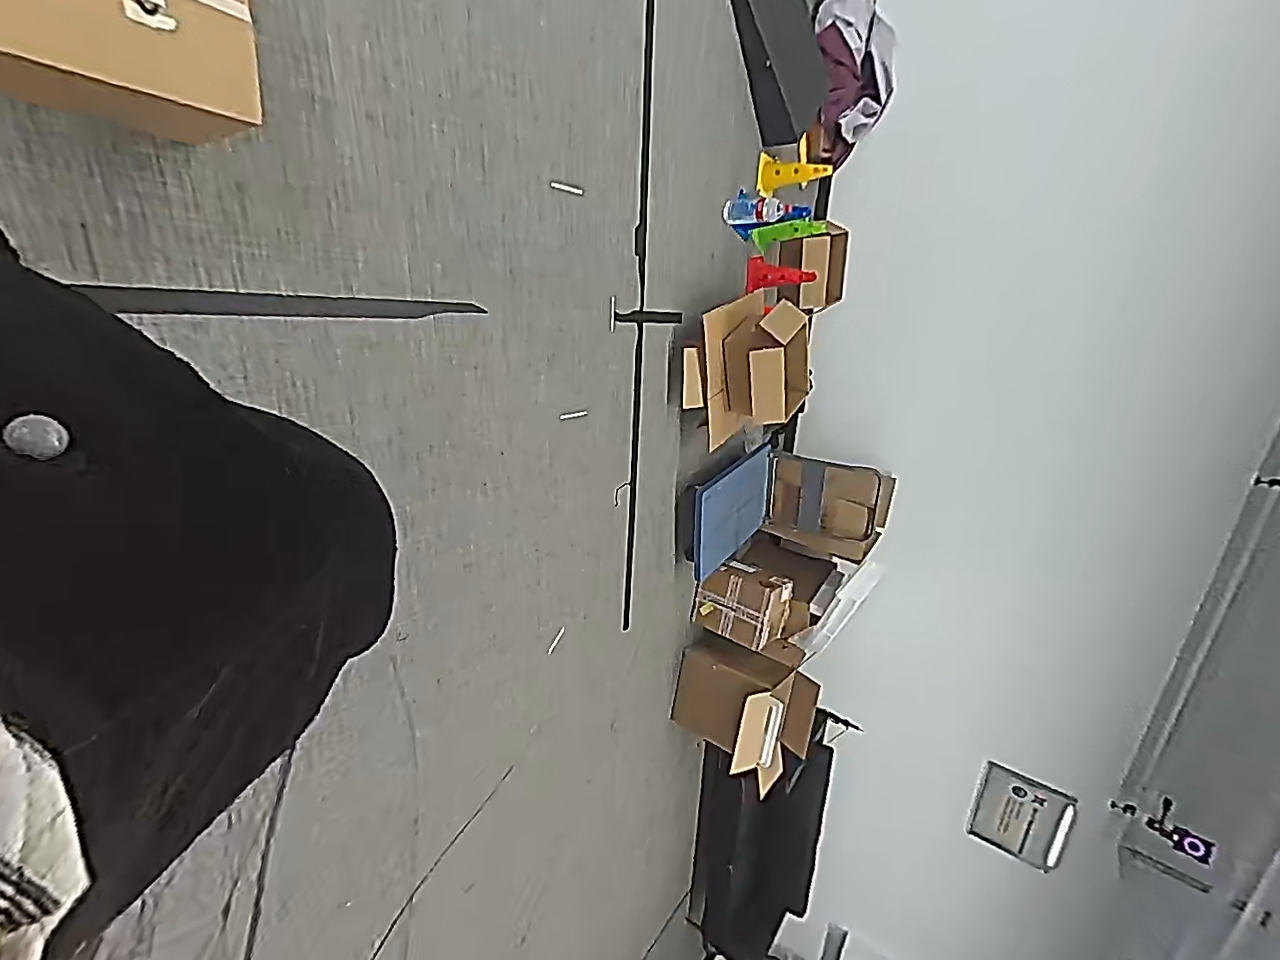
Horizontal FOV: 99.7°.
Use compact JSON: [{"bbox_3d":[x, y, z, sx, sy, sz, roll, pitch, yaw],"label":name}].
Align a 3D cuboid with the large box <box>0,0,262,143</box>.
[{"bbox_3d":[-0.875,-0.750,0.809,0.408,0.320,0.320,-18,118,-53],"label":"large box"}]
